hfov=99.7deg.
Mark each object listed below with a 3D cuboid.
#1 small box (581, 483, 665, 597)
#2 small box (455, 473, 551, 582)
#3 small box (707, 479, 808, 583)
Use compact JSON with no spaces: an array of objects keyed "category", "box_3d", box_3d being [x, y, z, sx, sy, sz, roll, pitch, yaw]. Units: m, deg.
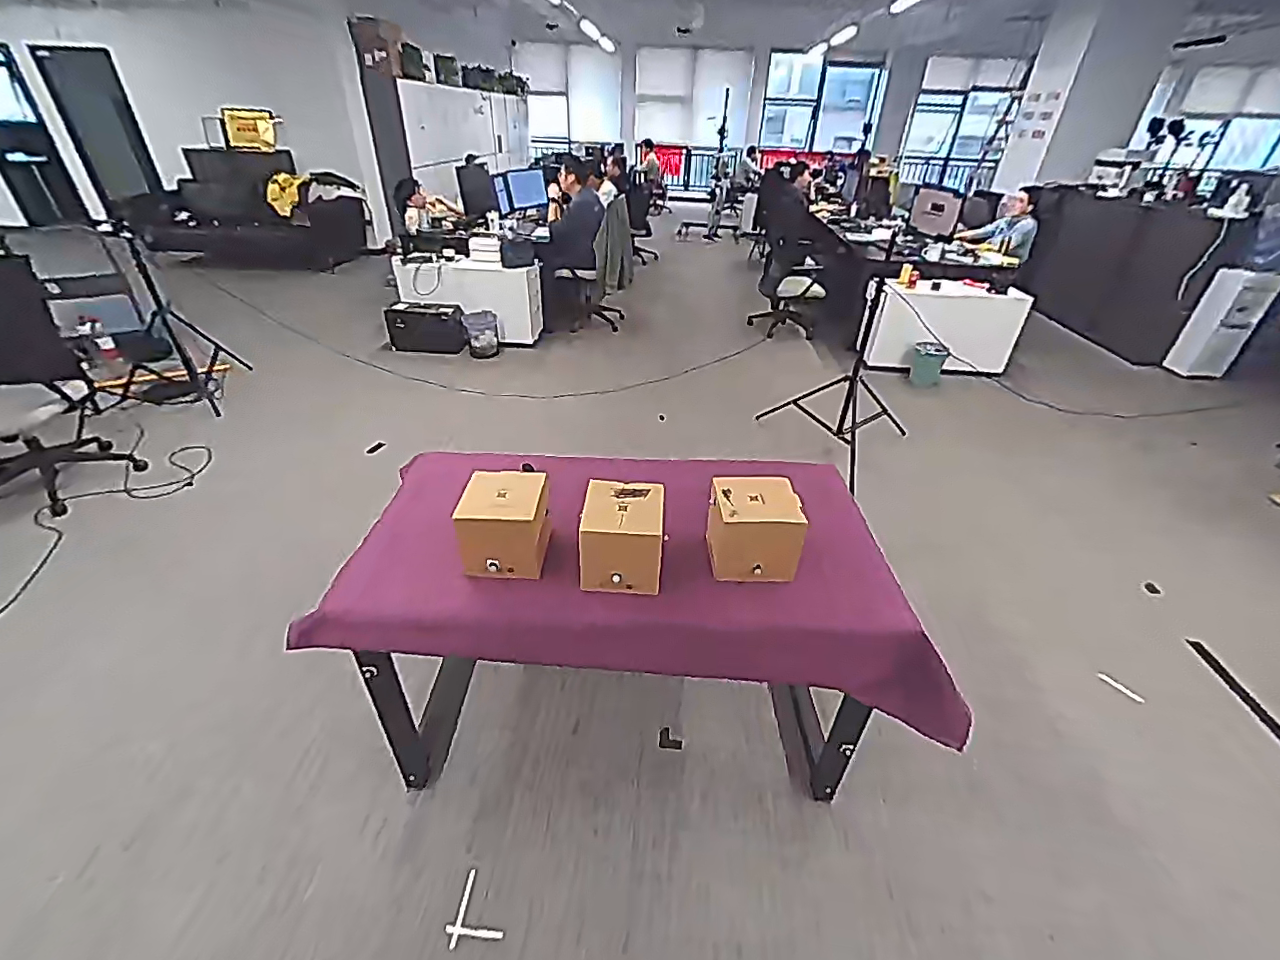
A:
[{"category":"small box","box_3d":[-0.034,0.127,1.165,0.168,0.176,0.179,3,34,2]},{"category":"small box","box_3d":[-0.290,0.102,1.191,0.168,0.176,0.179,1,34,0]},{"category":"small box","box_3d":[0.252,0.113,1.202,0.179,0.176,0.168,1,33,-2]}]
